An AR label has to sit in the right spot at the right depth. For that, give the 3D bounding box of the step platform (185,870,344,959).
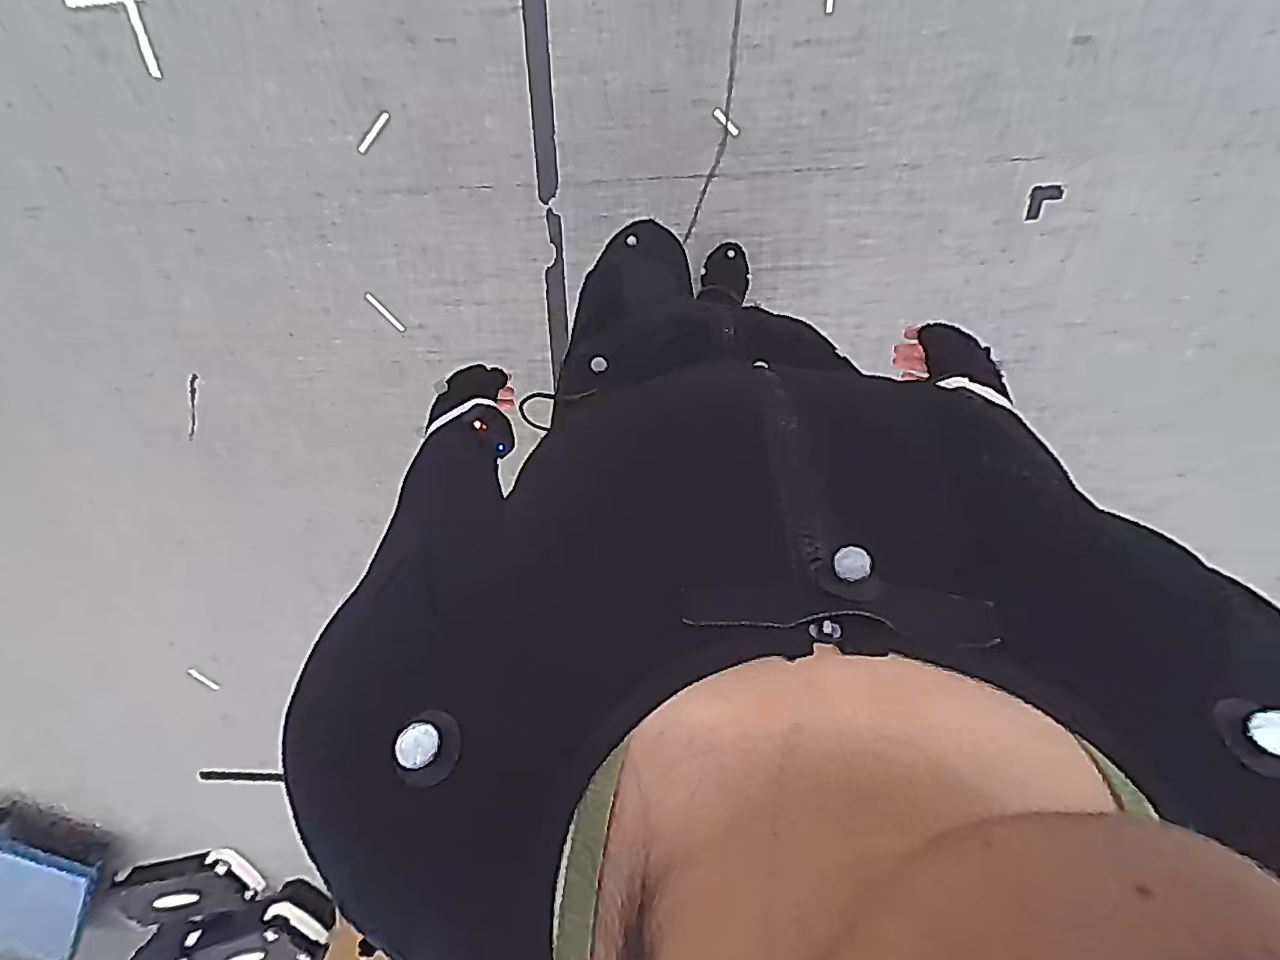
[{"bbox_3d":[-1.739,2.056,2.503,0.684,0.204,0.286,-27,111,14],"label":"step platform"}]
